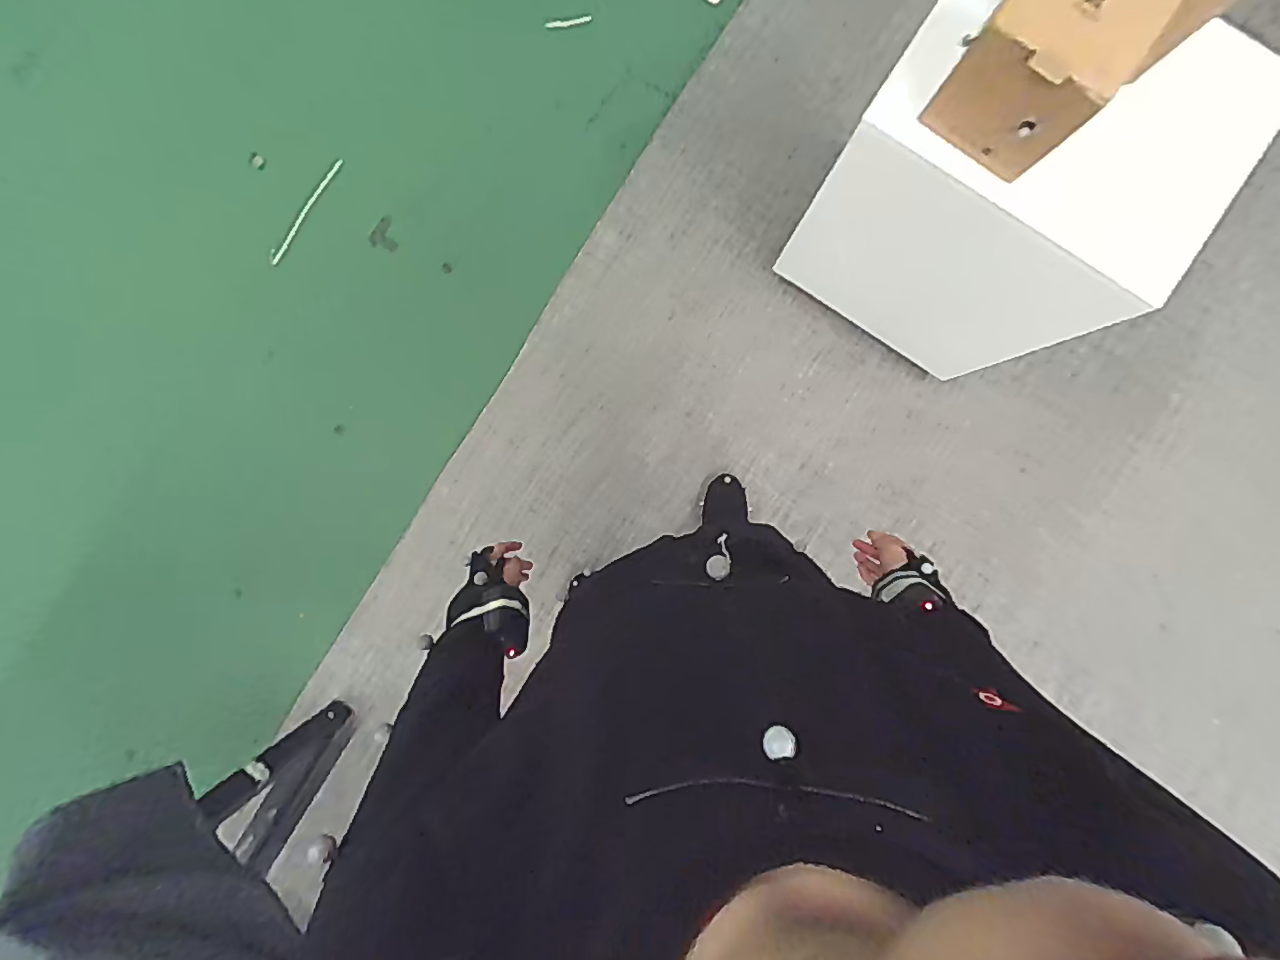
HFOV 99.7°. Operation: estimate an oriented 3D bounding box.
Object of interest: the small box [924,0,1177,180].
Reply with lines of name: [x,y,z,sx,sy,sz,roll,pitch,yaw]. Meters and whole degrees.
small box: [0.504,-0.534,0.692,0.168,0.176,0.179,34,88,-1]
